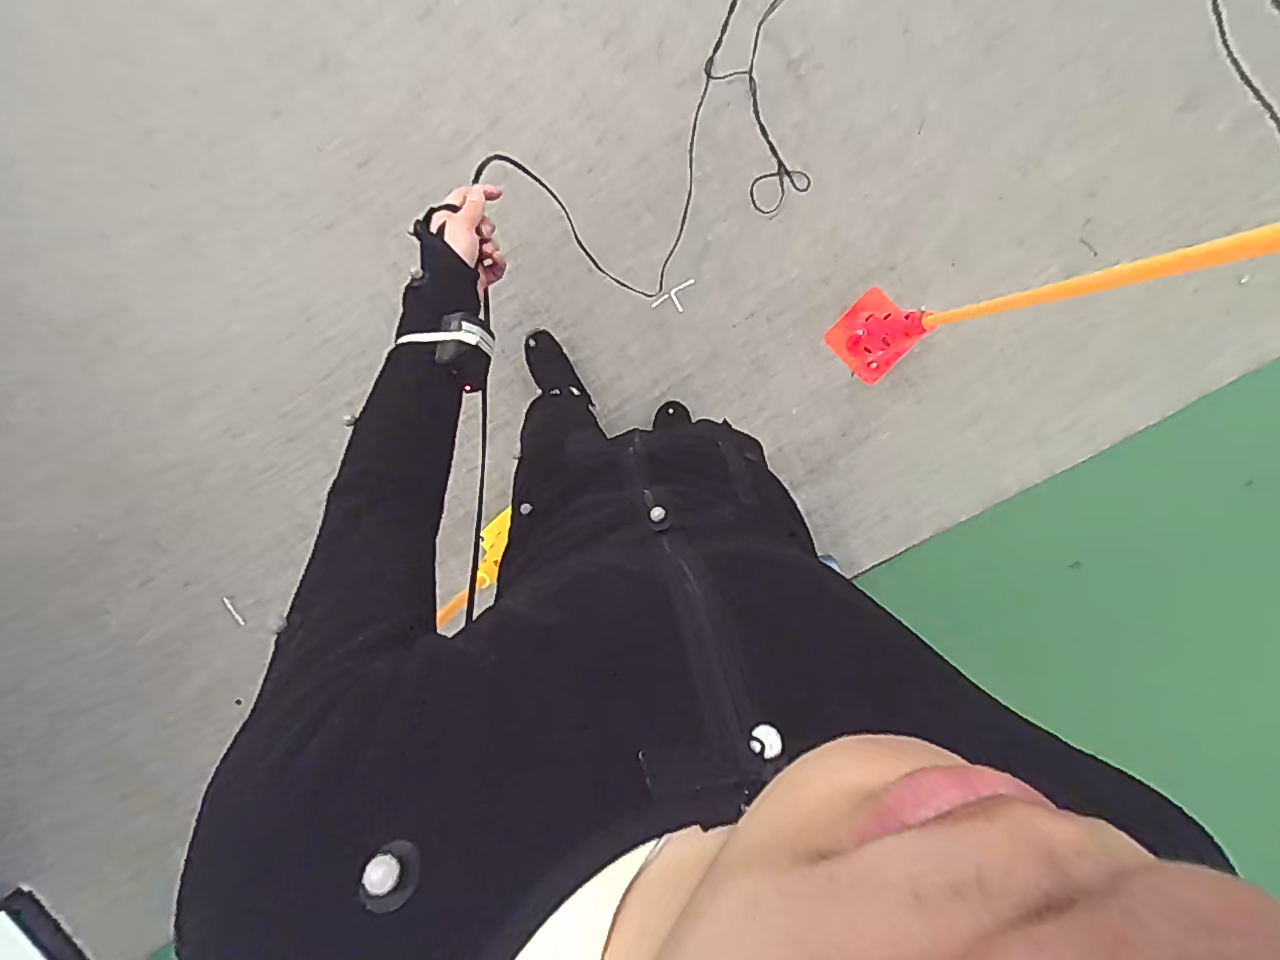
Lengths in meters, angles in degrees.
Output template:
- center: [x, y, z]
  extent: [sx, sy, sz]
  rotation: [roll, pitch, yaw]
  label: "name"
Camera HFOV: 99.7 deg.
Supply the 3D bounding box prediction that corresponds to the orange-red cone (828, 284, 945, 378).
- center: [0.639, -0.380, 1.321]
  extent: [0.198, 0.360, 0.199]
  rotation: [44, 98, -6]
  label: "orange-red cone"
